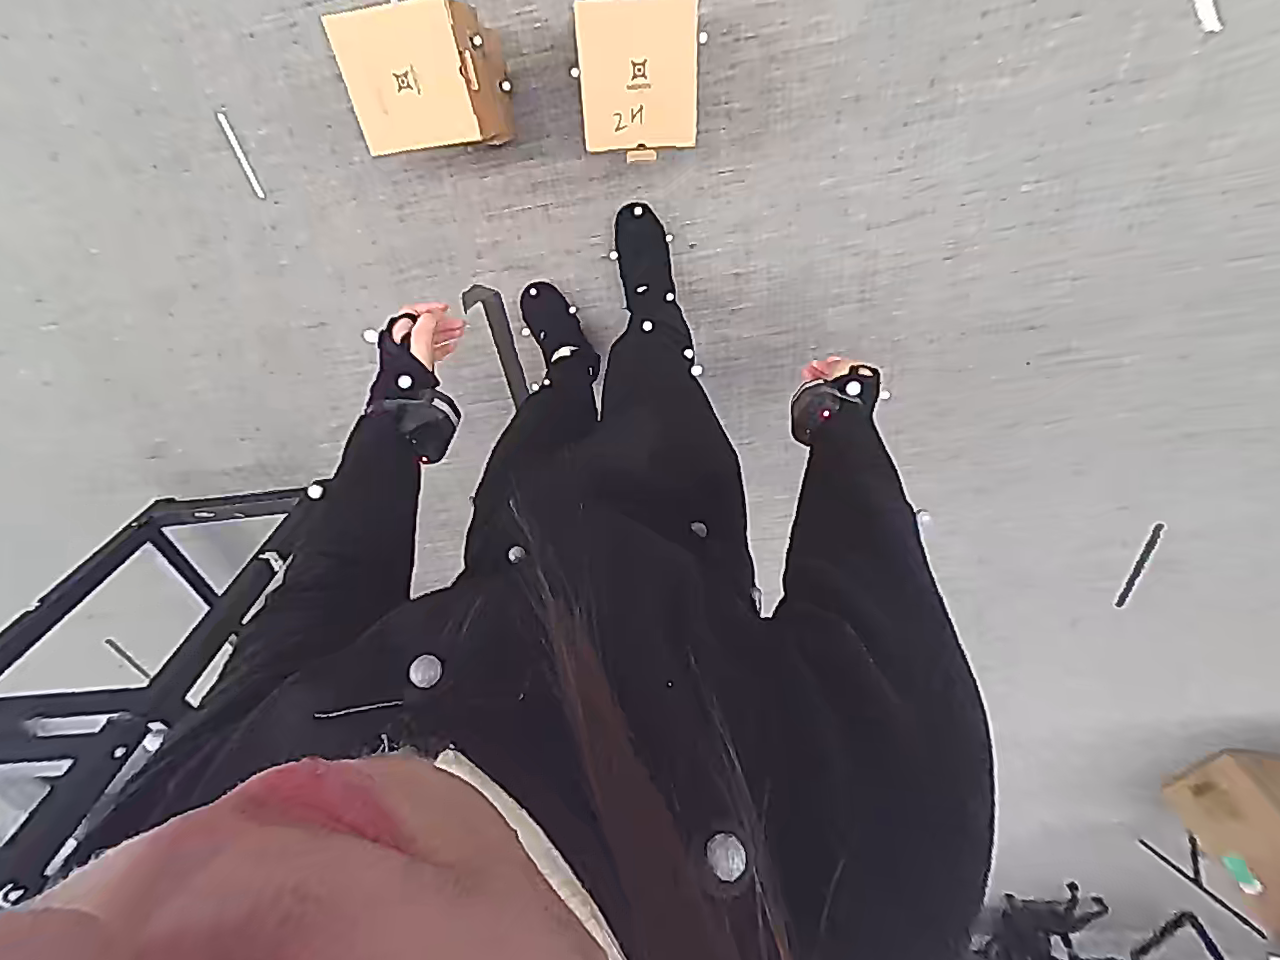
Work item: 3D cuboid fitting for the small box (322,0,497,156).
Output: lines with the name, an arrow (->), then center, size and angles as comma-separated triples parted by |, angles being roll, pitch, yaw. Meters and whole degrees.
small box -> -0.327, -0.604, 0.819 | 0.179, 0.176, 0.168 | -5, 126, 5

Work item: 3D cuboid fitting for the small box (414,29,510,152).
small box -> -0.336, -0.690, 0.959 | 0.179, 0.176, 0.168 | -3, 126, 1

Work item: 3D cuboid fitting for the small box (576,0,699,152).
small box -> -0.003, -0.606, 0.817 | 0.168, 0.176, 0.179 | -2, 126, 2
